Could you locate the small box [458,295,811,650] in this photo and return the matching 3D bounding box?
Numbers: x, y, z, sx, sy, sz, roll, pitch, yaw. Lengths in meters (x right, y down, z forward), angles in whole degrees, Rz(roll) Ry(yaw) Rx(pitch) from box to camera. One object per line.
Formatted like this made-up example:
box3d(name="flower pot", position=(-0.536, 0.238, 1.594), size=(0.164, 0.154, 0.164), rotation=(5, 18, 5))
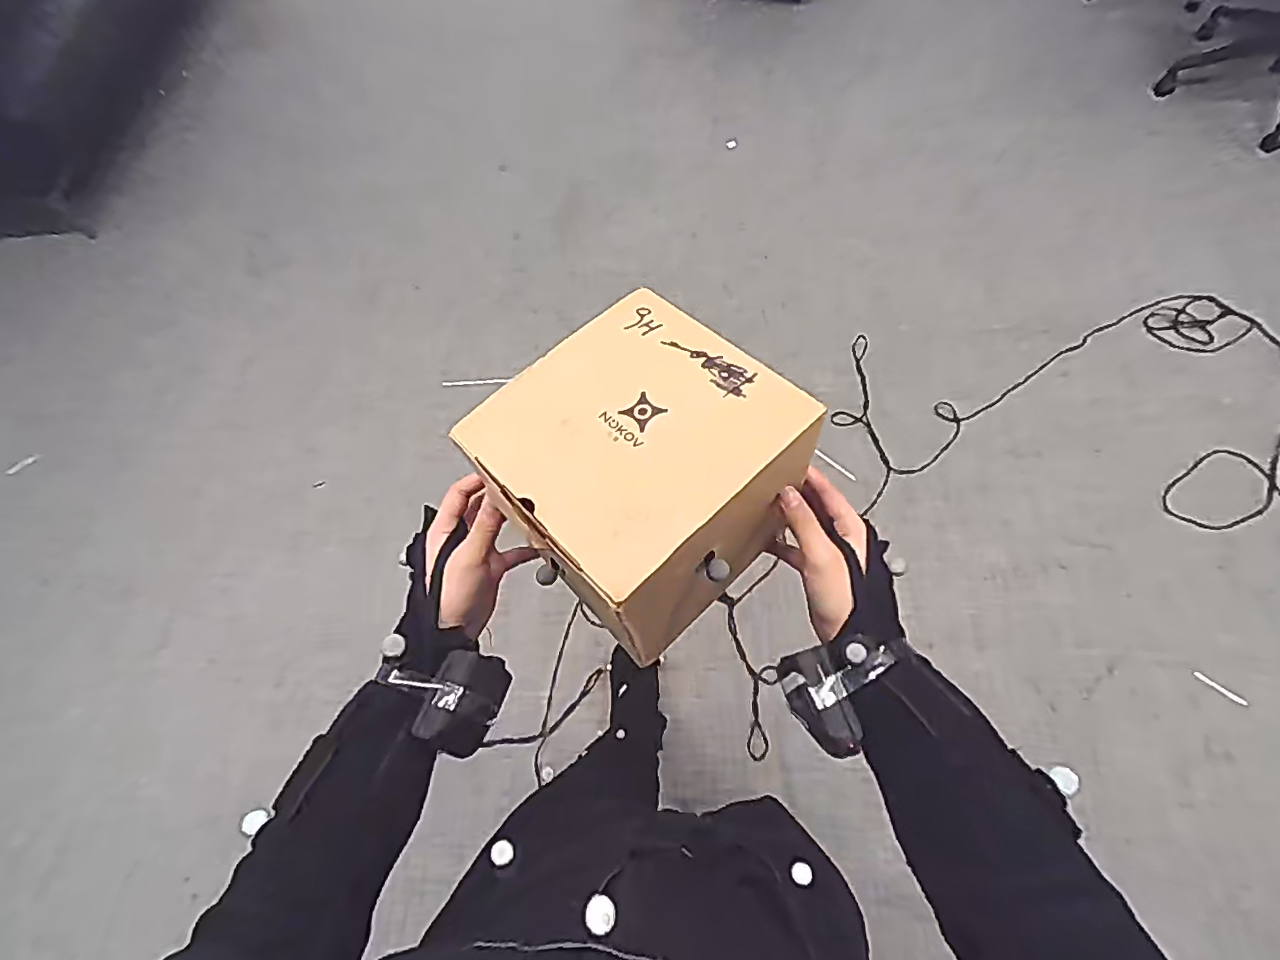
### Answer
box3d(name="small box", position=(0.003, 0.003, 0.416), size=(0.179, 0.176, 0.168), rotation=(-41, 64, -15))
